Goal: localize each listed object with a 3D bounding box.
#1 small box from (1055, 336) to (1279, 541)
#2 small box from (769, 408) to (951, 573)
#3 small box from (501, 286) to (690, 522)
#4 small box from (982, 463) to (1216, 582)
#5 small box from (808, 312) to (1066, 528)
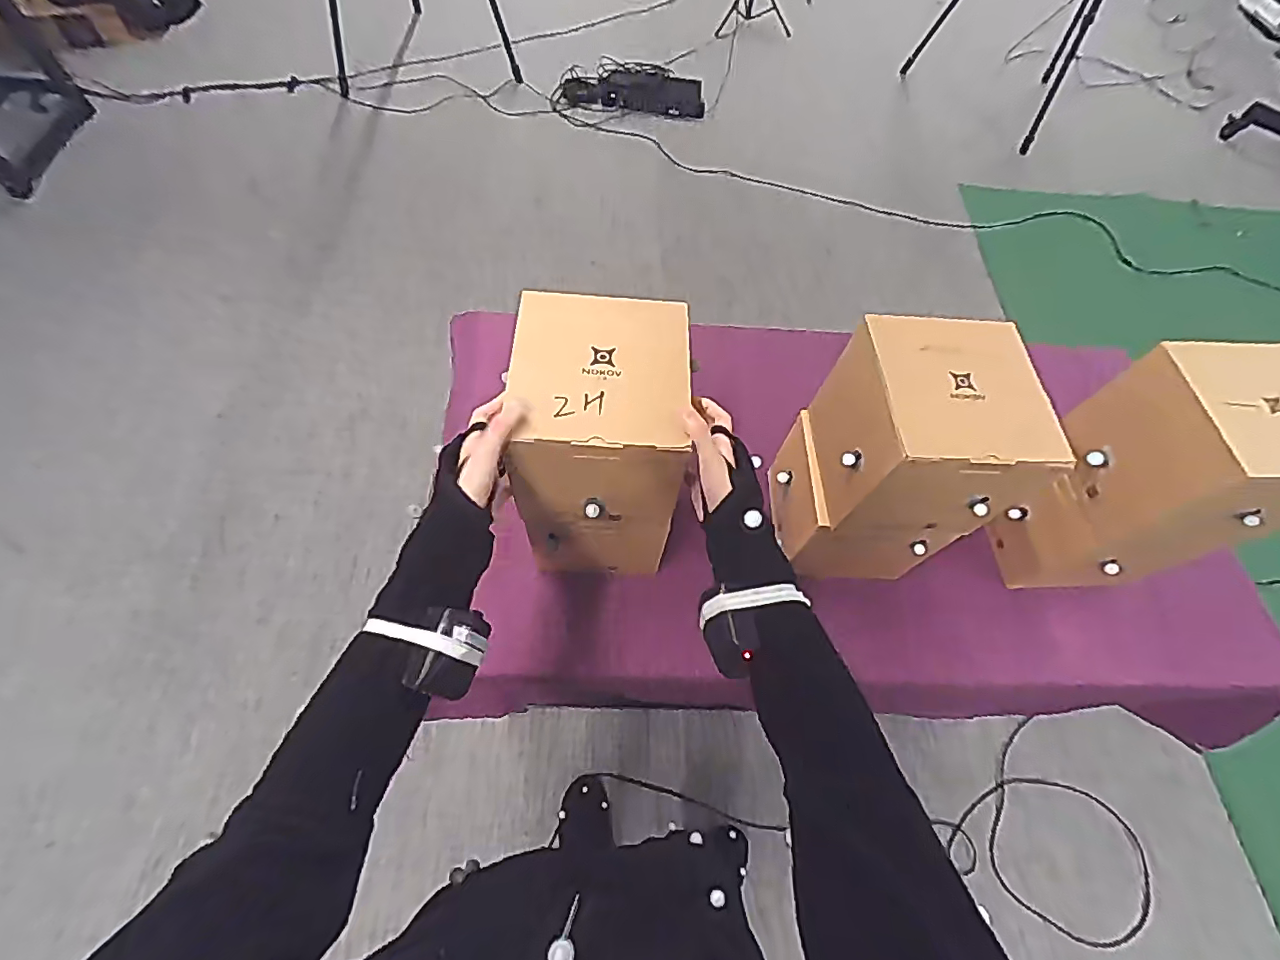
[{"bbox_3d":[0.620,-0.038,0.604,0.179,0.176,0.168,1,61,-4],"label":"small box"},{"bbox_3d":[0.283,0.021,0.738,0.179,0.176,0.168,3,61,-4],"label":"small box"},{"bbox_3d":[-0.042,-0.073,0.572,0.168,0.176,0.179,3,61,-3],"label":"small box"},{"bbox_3d":[0.609,0.038,0.750,0.179,0.176,0.168,0,62,-4],"label":"small box"},{"bbox_3d":[0.301,-0.057,0.596,0.168,0.176,0.179,2,60,-5],"label":"small box"}]
